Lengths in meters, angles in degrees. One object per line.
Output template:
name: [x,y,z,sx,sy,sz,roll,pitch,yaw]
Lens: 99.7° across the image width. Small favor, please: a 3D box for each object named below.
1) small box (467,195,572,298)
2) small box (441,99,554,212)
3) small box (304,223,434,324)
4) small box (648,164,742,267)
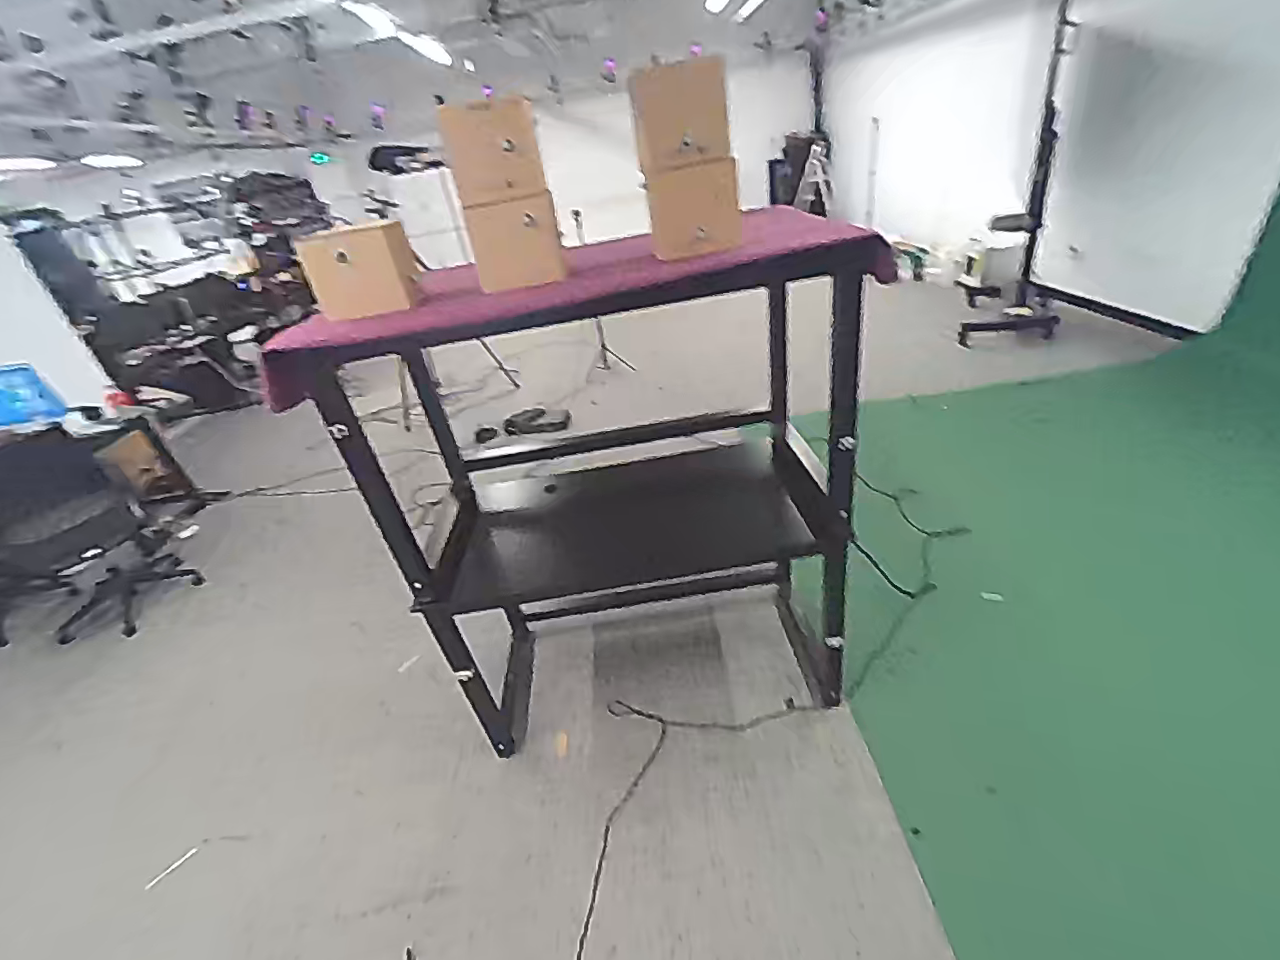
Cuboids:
small box: [-0.249,-0.508,1.173,0.179,0.176,0.168,-9,30,2]
small box: [-0.277,-0.650,1.097,0.168,0.176,0.179,-9,30,2]
small box: [-0.575,-0.447,1.172,0.179,0.176,0.168,-10,31,-1]
small box: [0.119,-0.569,1.160,0.179,0.176,0.168,-9,29,1]
